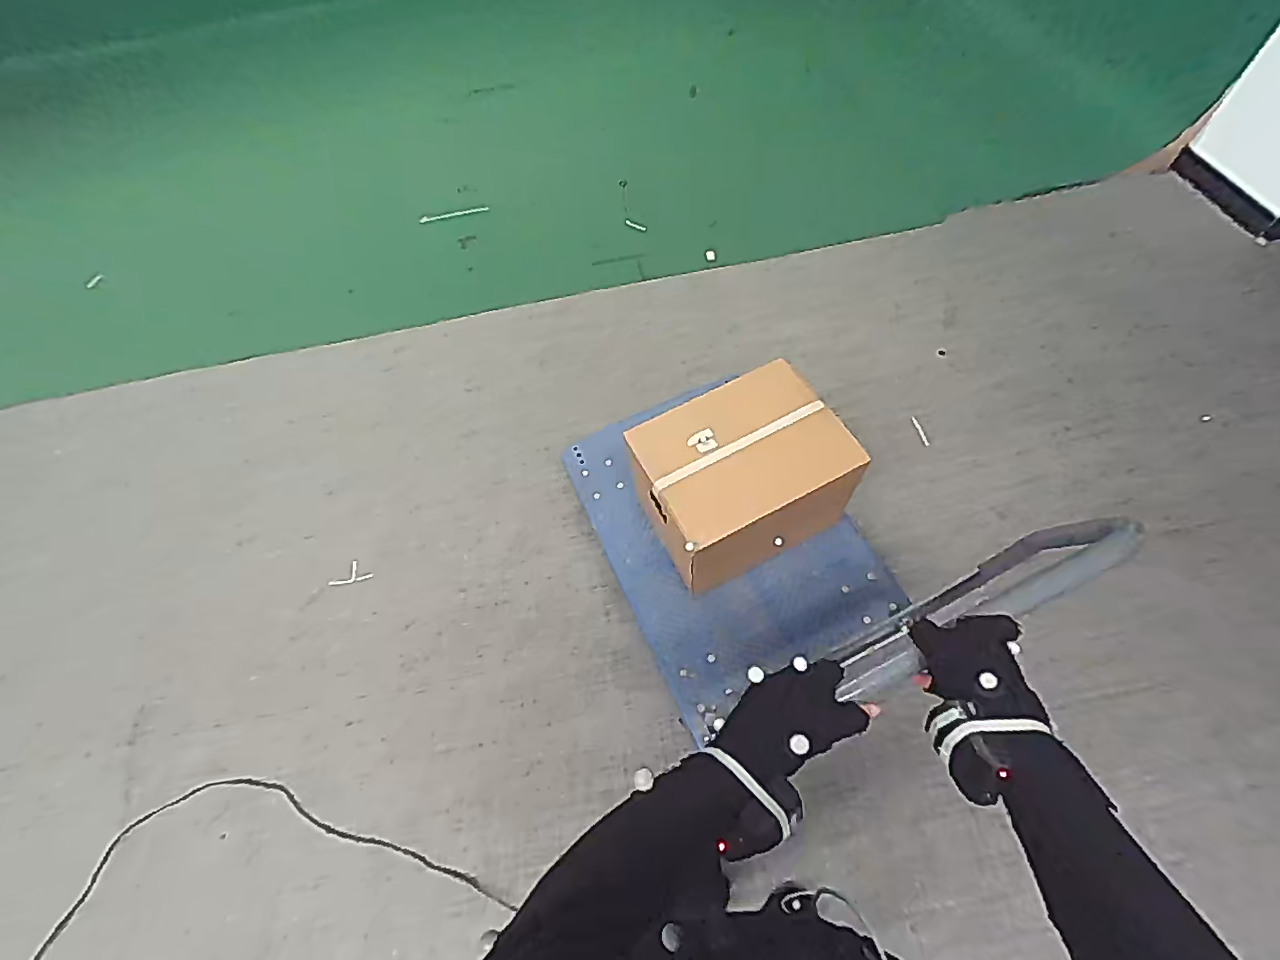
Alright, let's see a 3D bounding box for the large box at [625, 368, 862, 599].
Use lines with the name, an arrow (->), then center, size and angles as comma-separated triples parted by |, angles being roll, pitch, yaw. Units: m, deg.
large box -> 0.225, 0.018, 1.256 | 0.408, 0.320, 0.320 | -27, 61, -8
